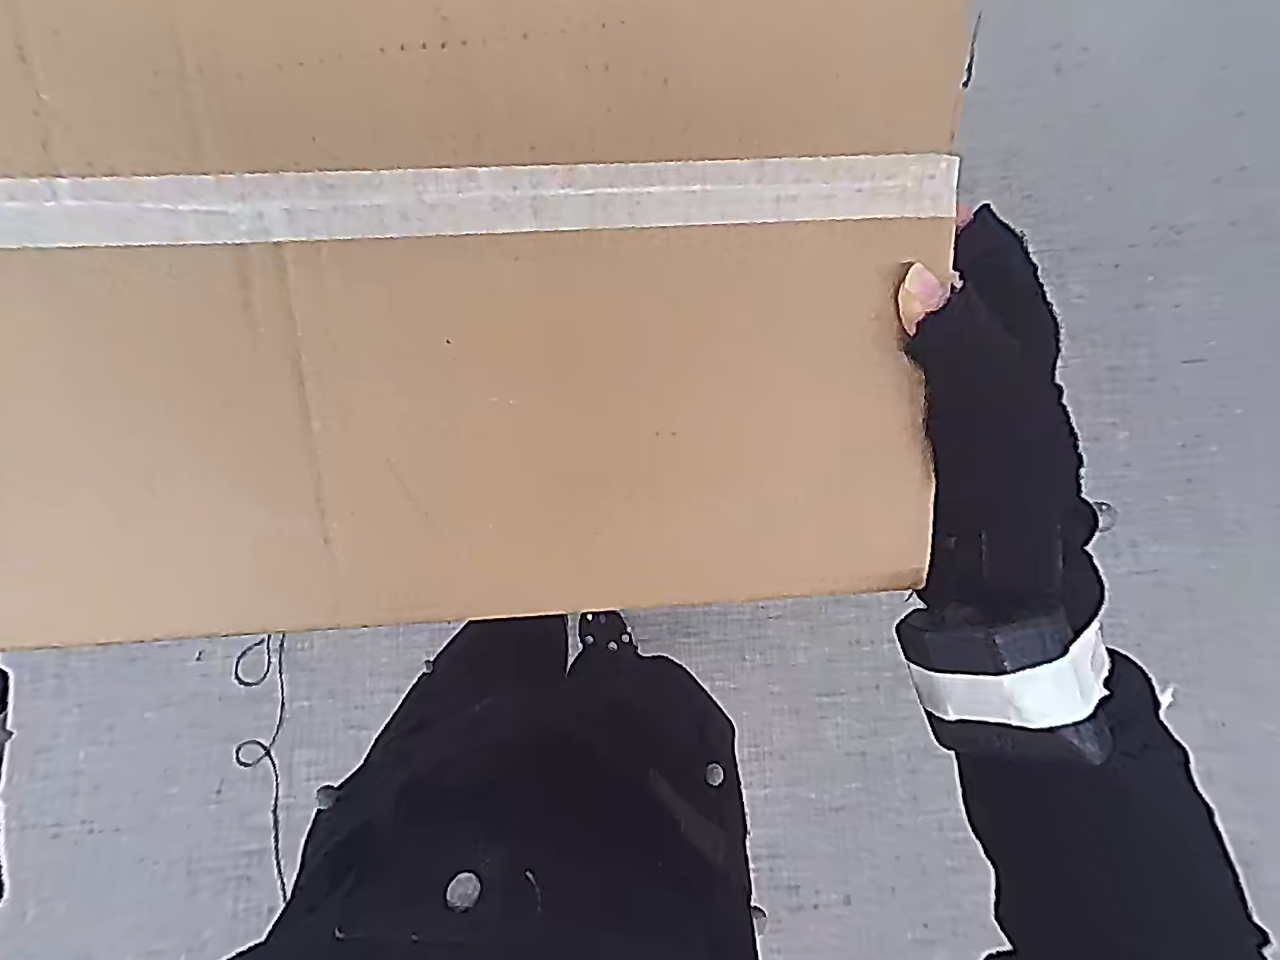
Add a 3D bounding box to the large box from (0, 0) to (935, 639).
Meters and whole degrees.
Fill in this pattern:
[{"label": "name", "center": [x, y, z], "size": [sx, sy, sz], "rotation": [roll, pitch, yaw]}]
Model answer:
[{"label": "large box", "center": [-0.097, -0.126, 0.346], "size": [0.408, 0.320, 0.320], "rotation": [-3, 101, -4]}]
